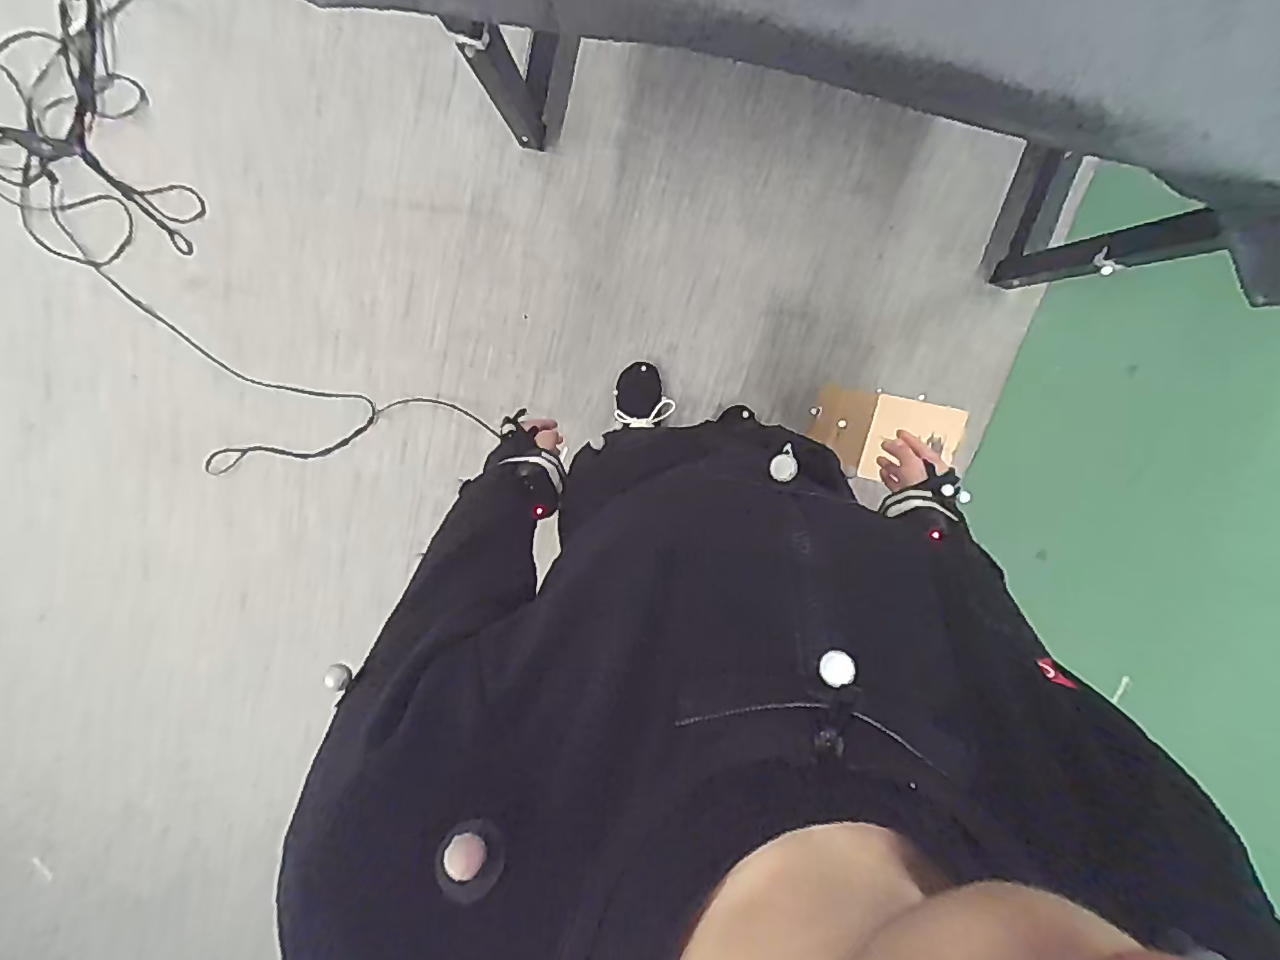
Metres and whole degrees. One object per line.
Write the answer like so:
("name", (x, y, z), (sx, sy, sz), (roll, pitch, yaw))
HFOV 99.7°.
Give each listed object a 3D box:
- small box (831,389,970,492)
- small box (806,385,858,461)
("small box", (0.515, -0.088, 1.094), (0.179, 0.176, 0.168), (11, 102, -1))
("small box", (0.510, -0.124, 1.254), (0.179, 0.176, 0.168), (11, 102, -1))
